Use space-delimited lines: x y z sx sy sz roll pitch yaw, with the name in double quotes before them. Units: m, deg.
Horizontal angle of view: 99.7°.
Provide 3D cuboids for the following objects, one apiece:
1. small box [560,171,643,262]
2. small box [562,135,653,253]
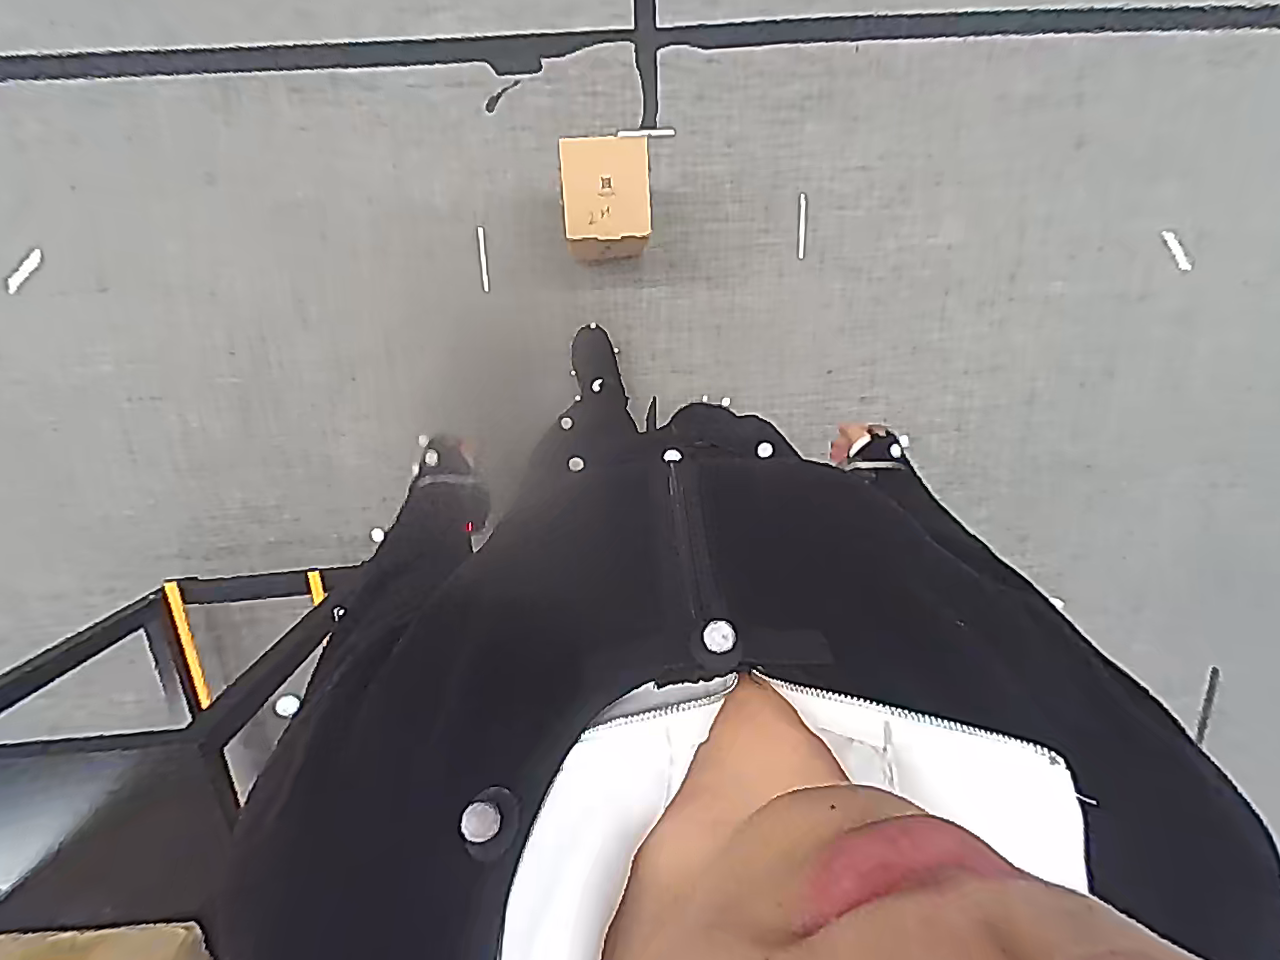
"small box" -0.080 -0.607 1.247 0.179 0.176 0.168 -7 105 -2
"small box" -0.065 -0.566 1.088 0.168 0.176 0.179 -3 106 -2
